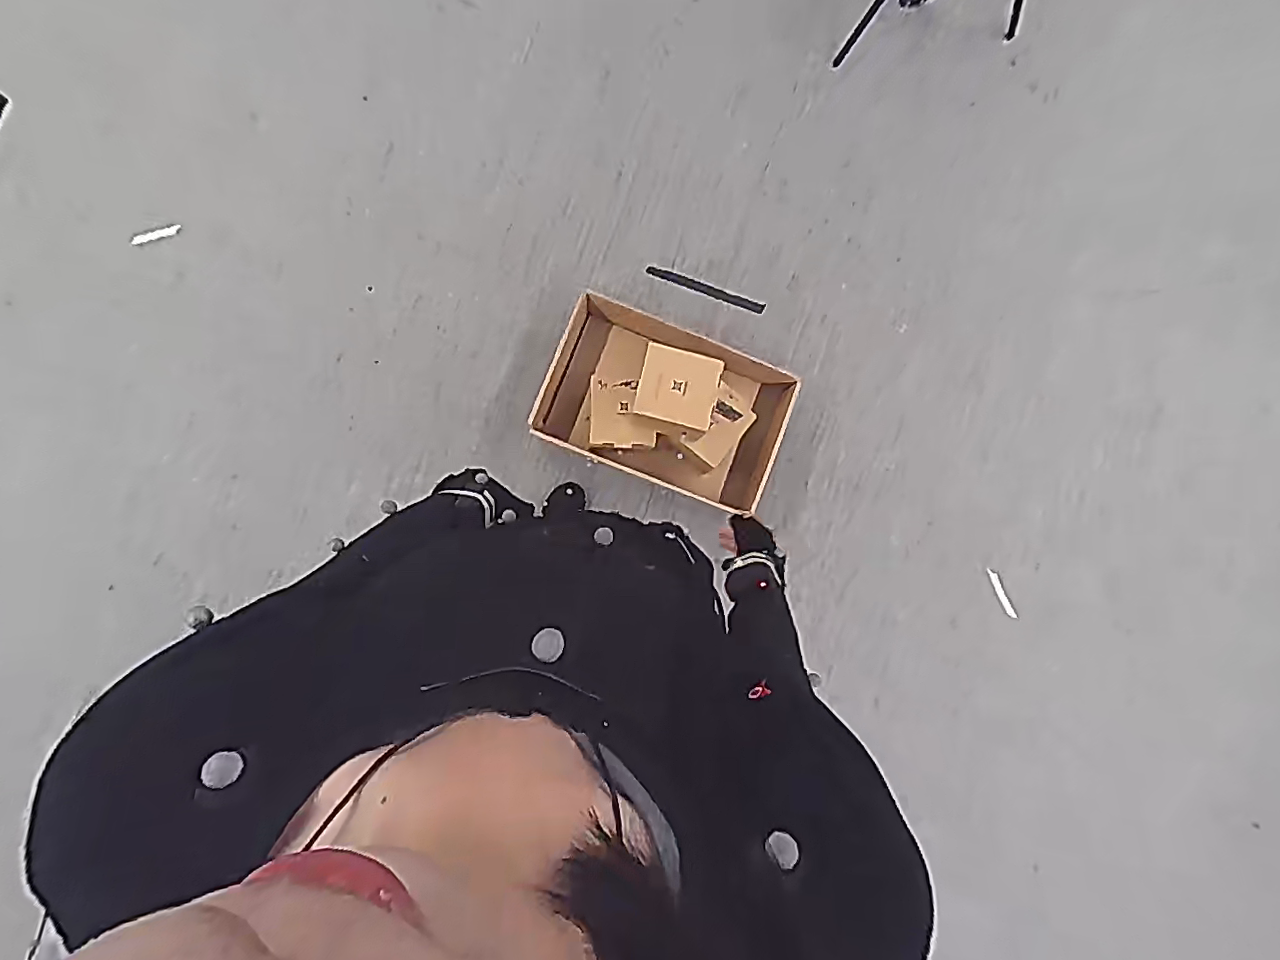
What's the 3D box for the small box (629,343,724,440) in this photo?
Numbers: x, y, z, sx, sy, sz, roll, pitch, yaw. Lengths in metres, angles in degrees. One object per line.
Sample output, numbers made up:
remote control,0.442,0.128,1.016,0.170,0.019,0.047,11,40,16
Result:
small box,0.079,-0.195,1.258,0.179,0.176,0.168,14,84,-3
